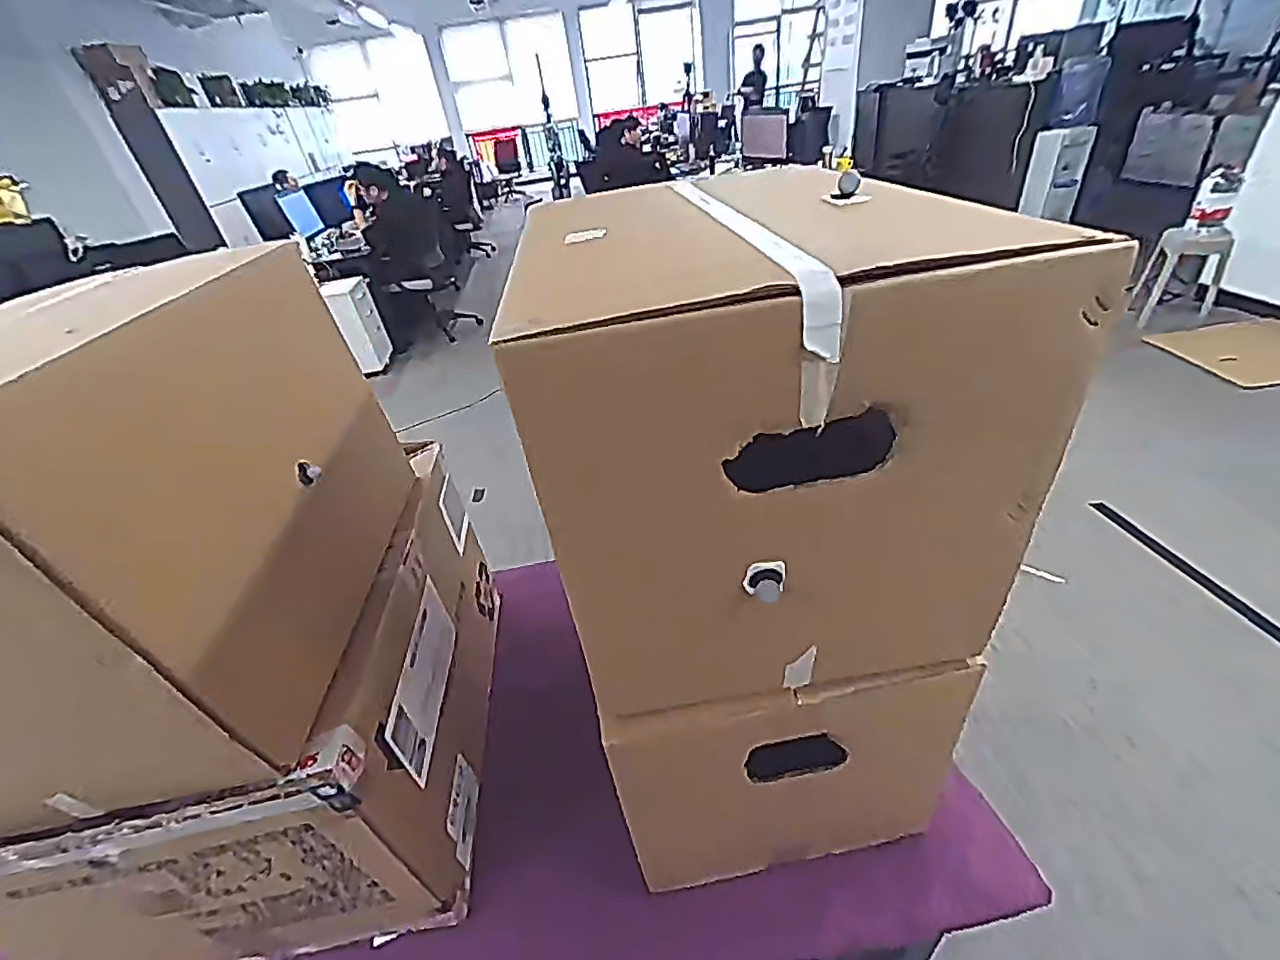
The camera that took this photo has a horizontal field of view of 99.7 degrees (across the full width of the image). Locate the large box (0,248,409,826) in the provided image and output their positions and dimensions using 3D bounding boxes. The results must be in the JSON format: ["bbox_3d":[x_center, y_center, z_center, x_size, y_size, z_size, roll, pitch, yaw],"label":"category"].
[{"bbox_3d":[-0.458,0.019,0.496,0.320,0.320,0.408,-13,36,1],"label":"large box"}]
